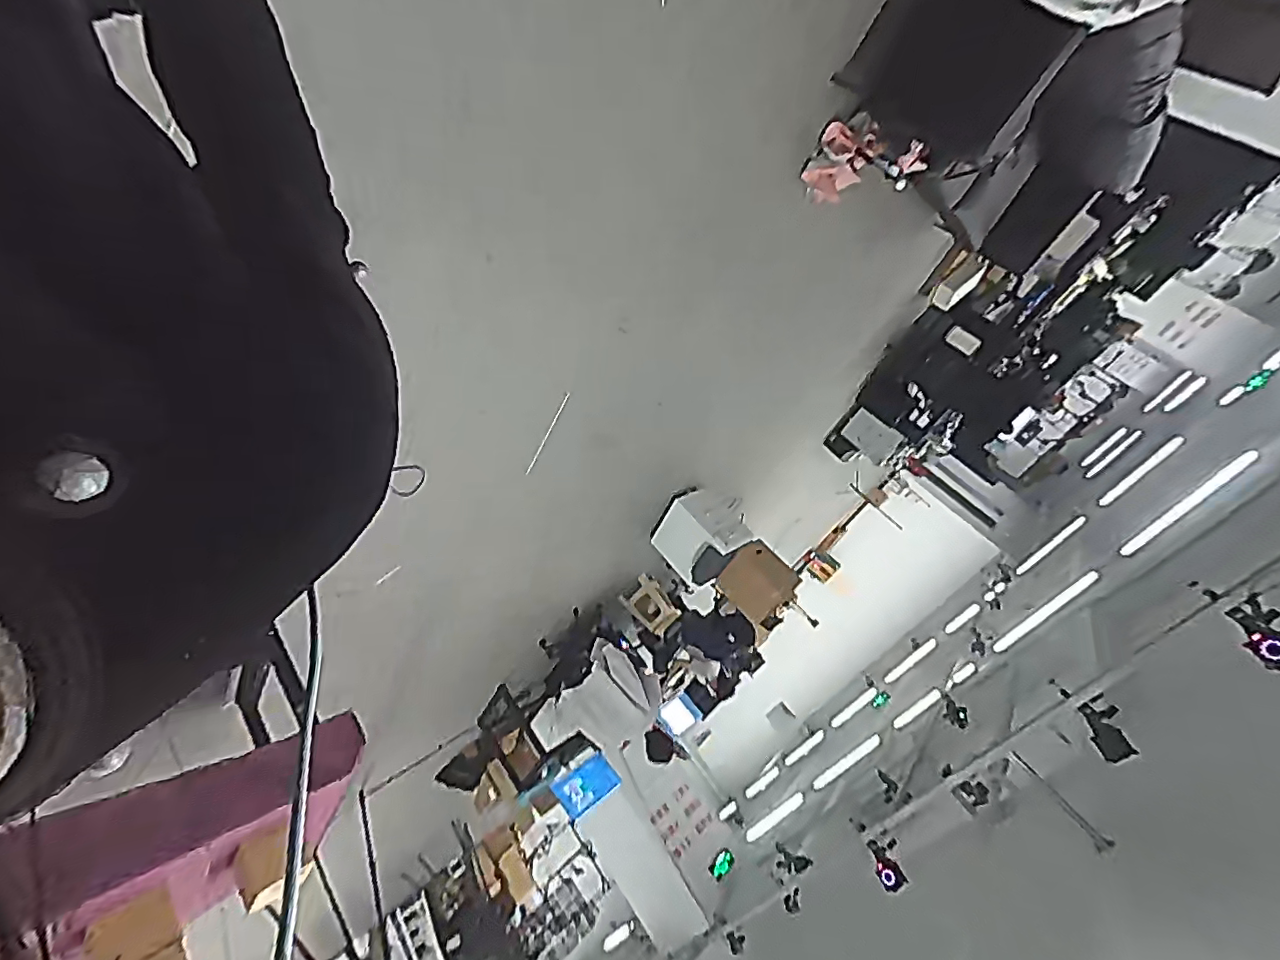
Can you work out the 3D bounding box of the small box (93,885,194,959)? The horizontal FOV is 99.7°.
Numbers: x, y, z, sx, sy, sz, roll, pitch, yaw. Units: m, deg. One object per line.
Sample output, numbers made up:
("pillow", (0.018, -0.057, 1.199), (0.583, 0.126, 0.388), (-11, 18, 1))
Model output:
("small box", (-1.402, 1.299, 1.526), (0.179, 0.176, 0.168), (-5, 136, -52))
